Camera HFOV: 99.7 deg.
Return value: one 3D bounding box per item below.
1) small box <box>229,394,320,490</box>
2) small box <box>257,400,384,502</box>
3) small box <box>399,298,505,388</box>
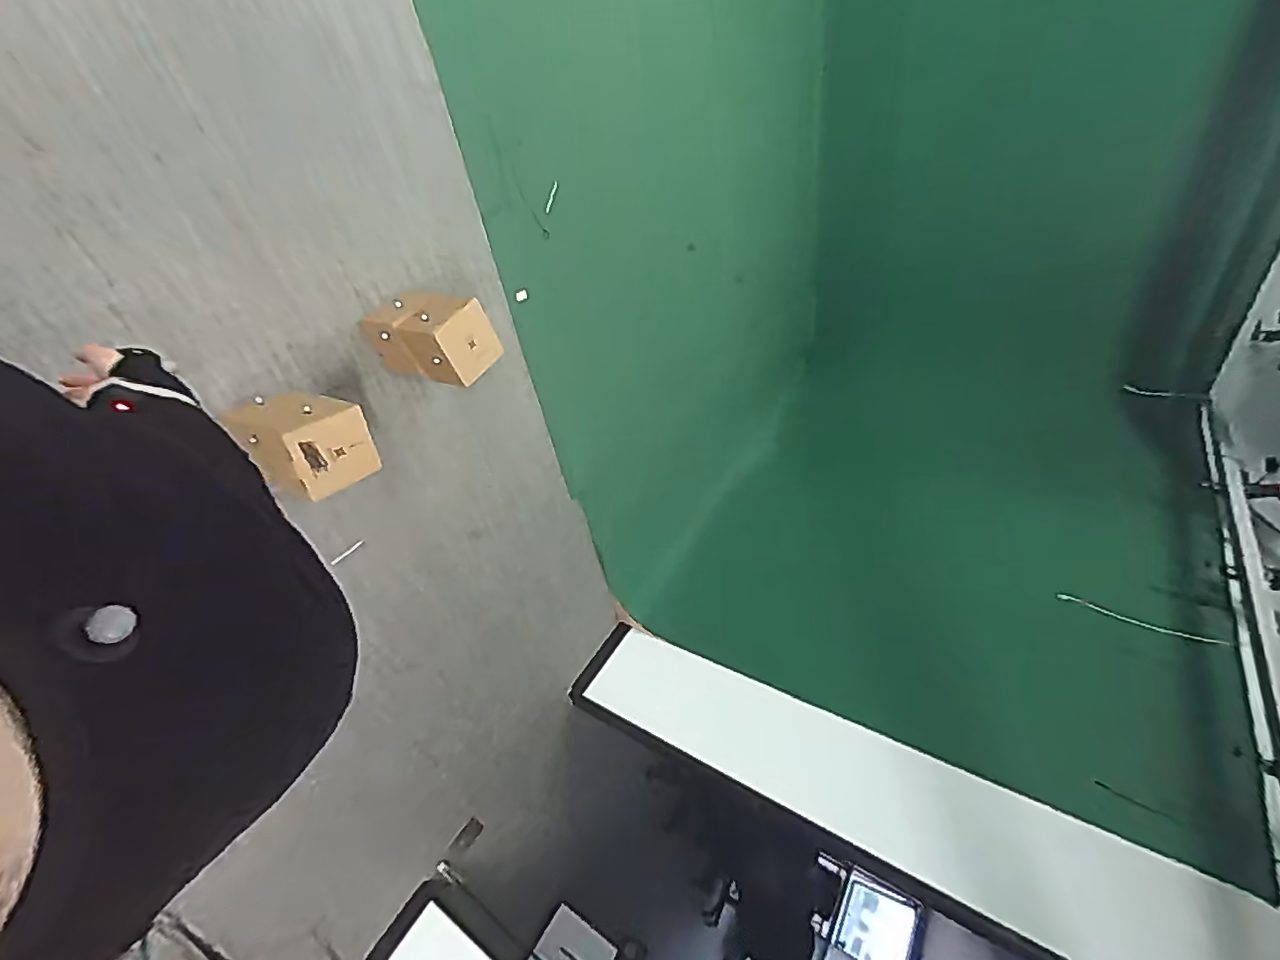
[{"bbox_3d":[-0.867,-0.100,1.328,0.179,0.176,0.168,-40,134,-42],"label":"small box"},{"bbox_3d":[-0.733,-0.073,1.235,0.179,0.176,0.168,-40,133,-44],"label":"small box"},{"bbox_3d":[-0.509,-0.373,1.462,0.168,0.176,0.179,-54,142,-29],"label":"small box"}]
